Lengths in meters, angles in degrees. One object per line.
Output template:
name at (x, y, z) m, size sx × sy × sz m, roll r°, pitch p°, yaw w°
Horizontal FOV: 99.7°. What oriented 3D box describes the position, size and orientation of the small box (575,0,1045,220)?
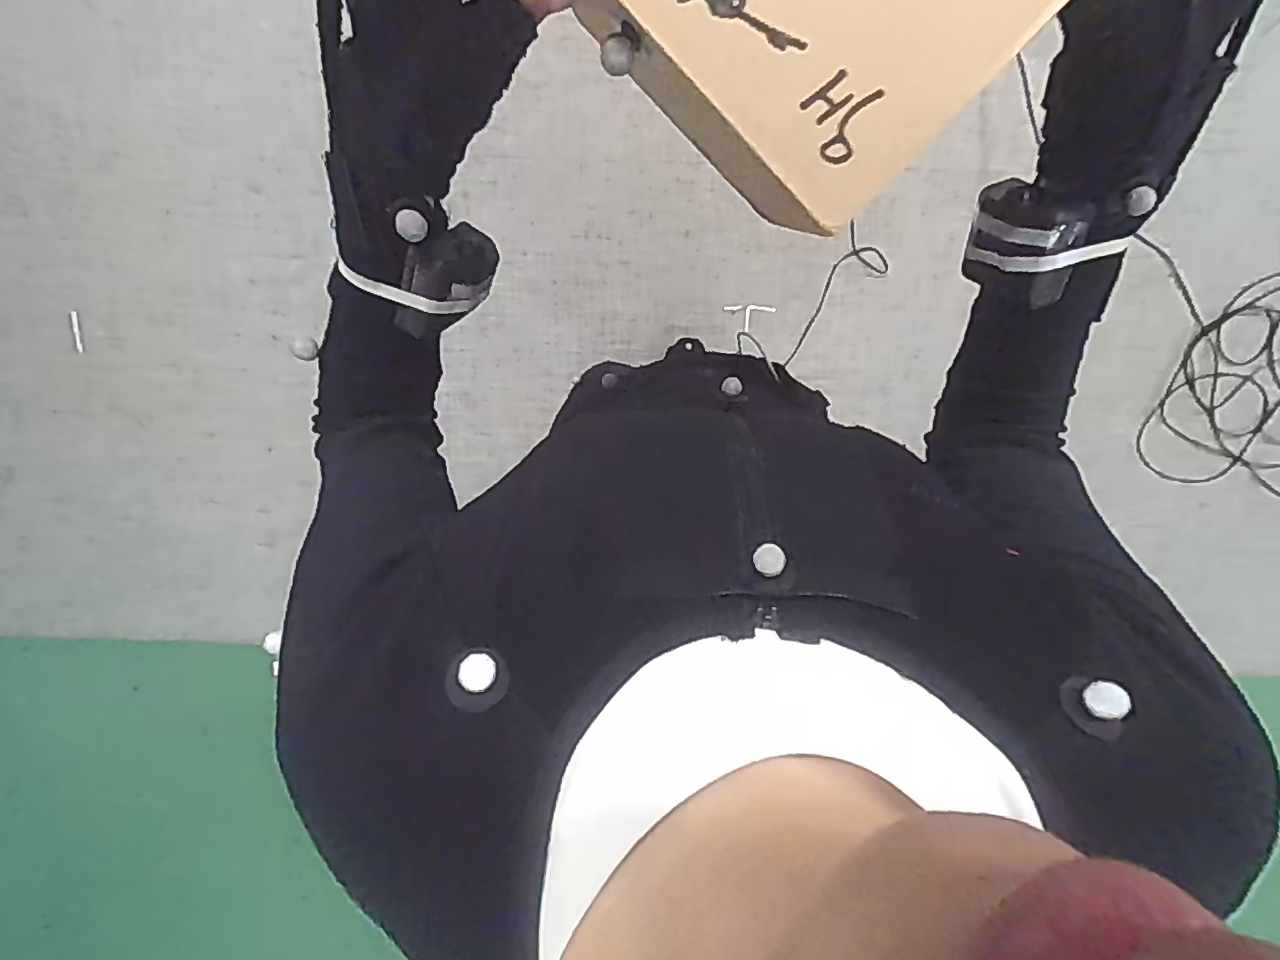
small box at (0.072, -0.240, 0.226) m, size 0.168 × 0.176 × 0.179 m, roll 39°, pitch 112°, yaw -15°
